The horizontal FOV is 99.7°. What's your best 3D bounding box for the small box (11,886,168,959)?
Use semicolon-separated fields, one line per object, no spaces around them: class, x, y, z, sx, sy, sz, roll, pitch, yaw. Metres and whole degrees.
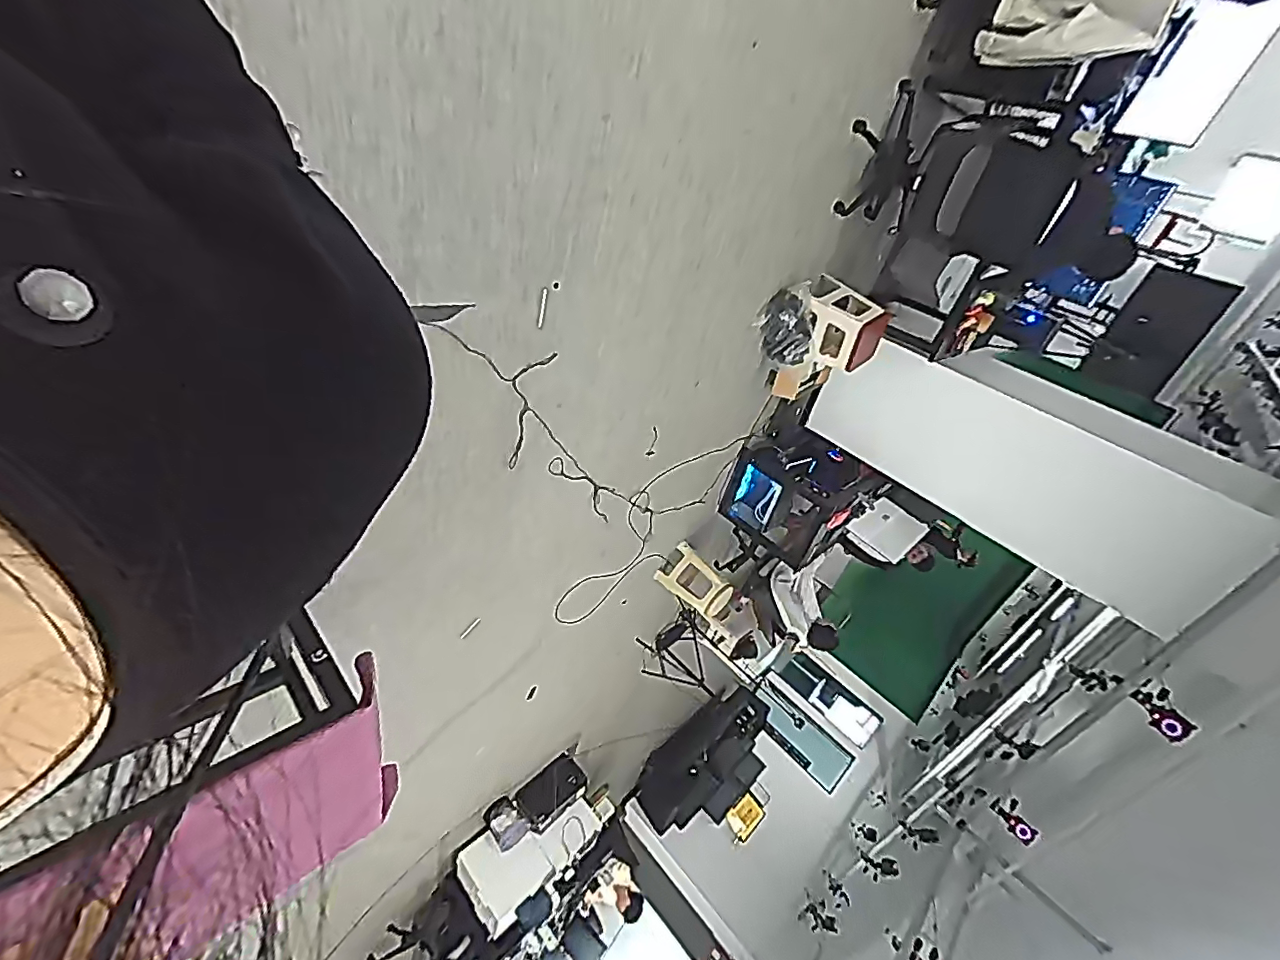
small box;-0.975;0.883;0.969;0.168;0.176;0.179;-19;139;-43
